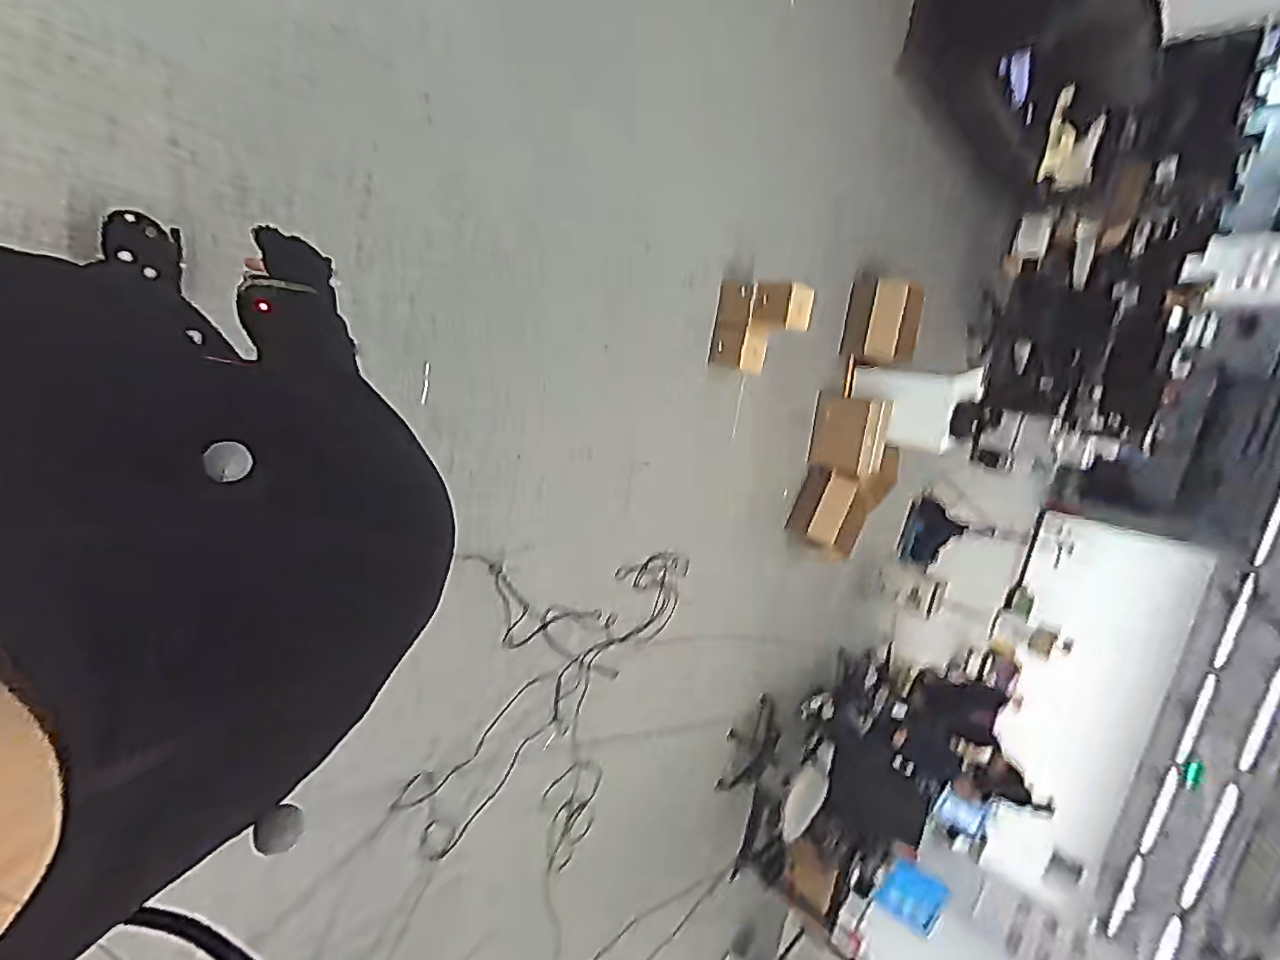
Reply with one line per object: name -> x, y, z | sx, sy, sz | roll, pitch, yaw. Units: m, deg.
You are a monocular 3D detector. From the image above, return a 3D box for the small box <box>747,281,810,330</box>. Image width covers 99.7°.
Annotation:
small box -> 0.564, -0.716, 2.210 | 0.179, 0.176, 0.168 | -4, 107, -46
